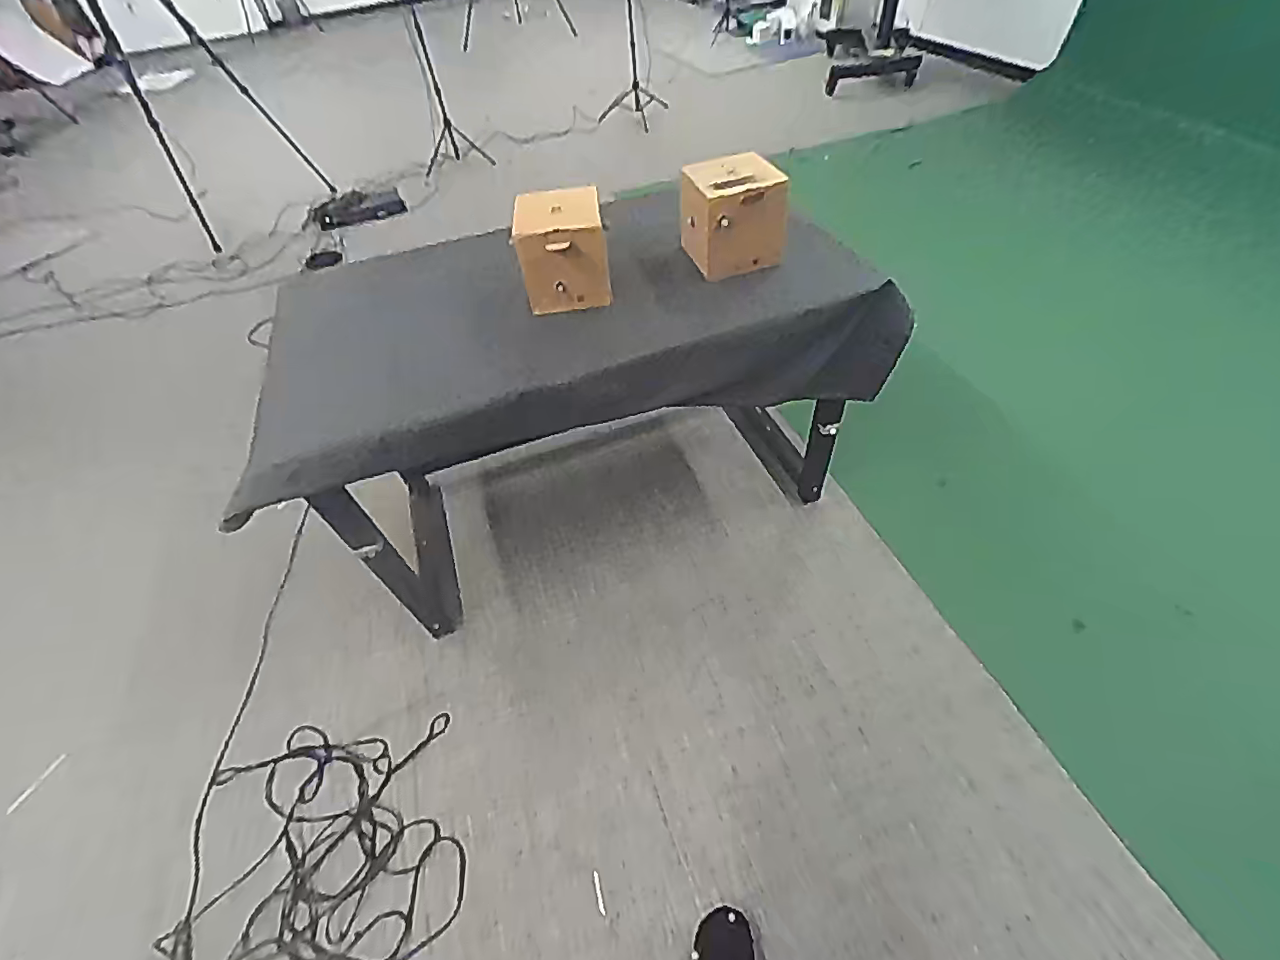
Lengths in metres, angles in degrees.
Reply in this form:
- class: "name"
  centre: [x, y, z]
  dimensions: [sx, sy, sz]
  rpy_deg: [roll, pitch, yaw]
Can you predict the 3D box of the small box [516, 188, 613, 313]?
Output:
- class: "small box"
  centre: [-0.147, -0.462, 1.095]
  dimensions: [0.168, 0.176, 0.179]
  rpy_deg: [-7, 50, 0]
